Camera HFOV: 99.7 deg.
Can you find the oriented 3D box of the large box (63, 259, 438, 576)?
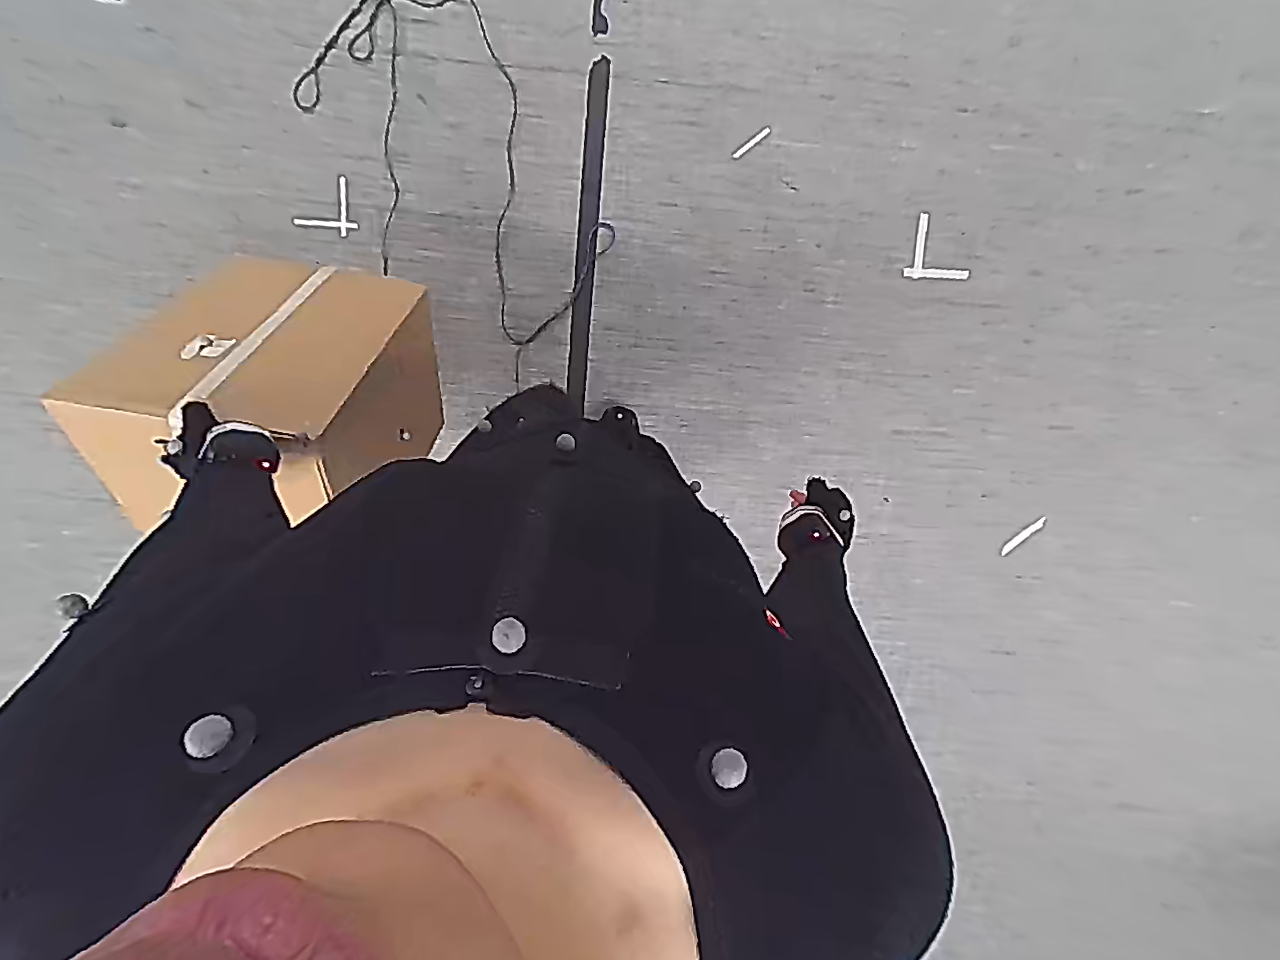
[{"bbox_3d":[-0.558,-0.108,0.899,0.320,0.408,0.320,8,136,-4],"label":"large box"}]
